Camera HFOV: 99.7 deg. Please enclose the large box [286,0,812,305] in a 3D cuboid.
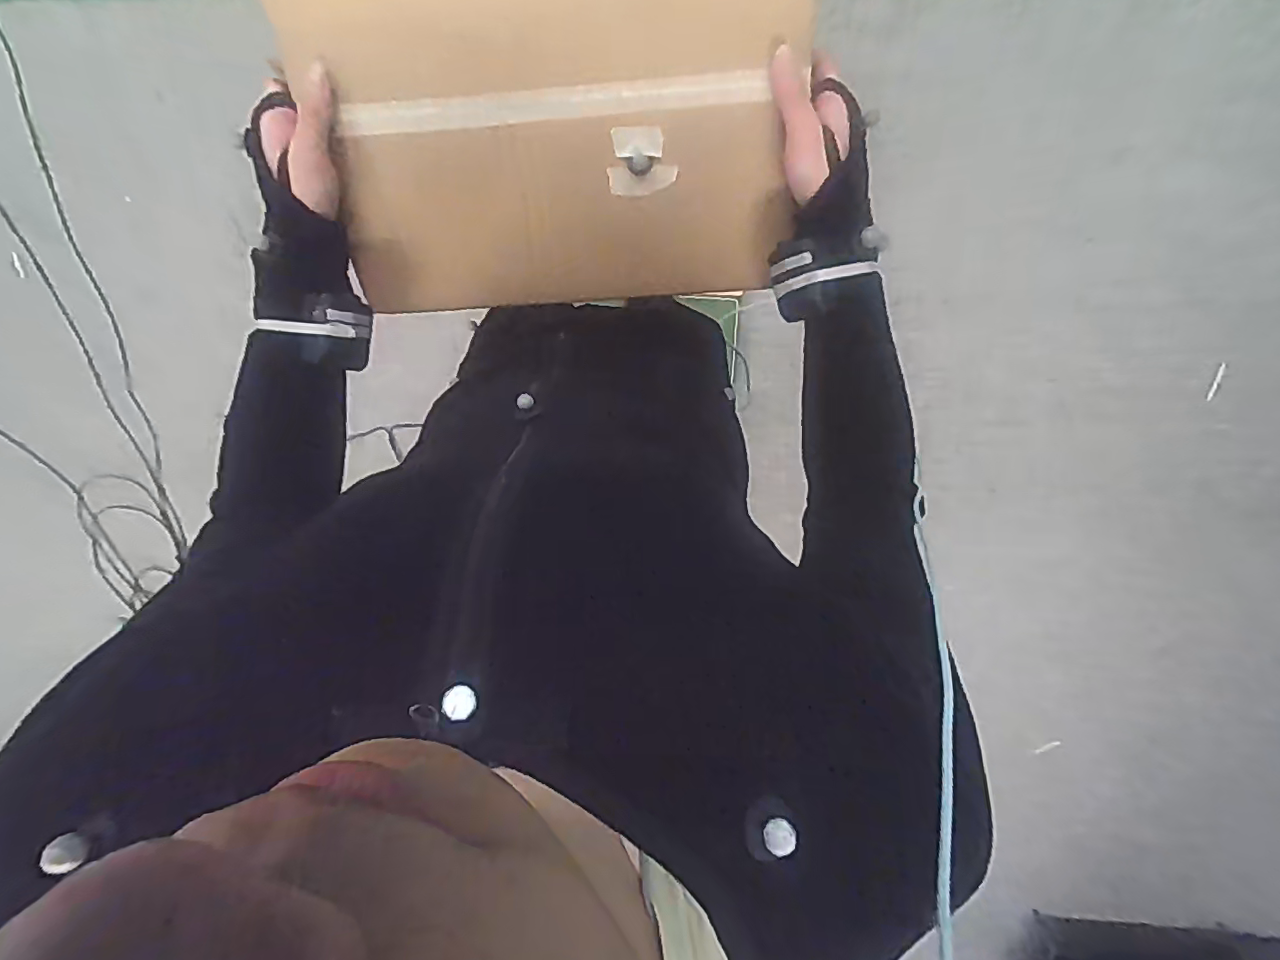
[{"bbox_3d":[-0.067,-0.393,0.565,0.408,0.320,0.320,-4,123,1],"label":"large box"}]
